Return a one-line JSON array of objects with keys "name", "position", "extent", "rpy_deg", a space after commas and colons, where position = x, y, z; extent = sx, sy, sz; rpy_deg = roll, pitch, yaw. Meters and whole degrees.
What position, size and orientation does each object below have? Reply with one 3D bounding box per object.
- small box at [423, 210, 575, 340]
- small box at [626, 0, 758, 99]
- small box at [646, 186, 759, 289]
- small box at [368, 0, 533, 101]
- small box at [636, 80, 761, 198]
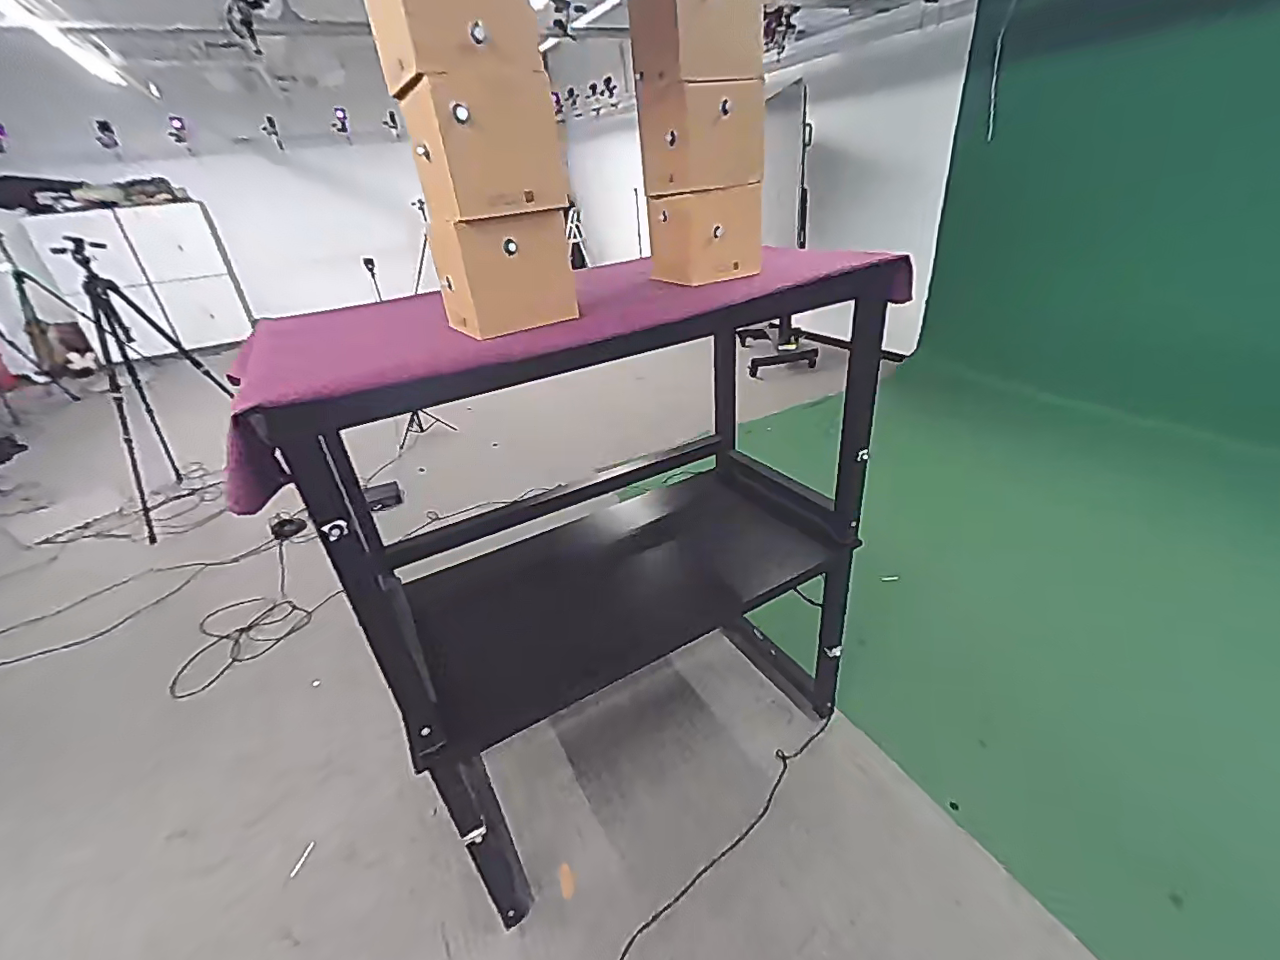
[{"name": "small box", "position": [-0.225, -0.335, 0.880], "extent": [0.179, 0.176, 0.168], "rpy_deg": [-22, 32, -27]}, {"name": "small box", "position": [0.095, -0.781, 0.953], "extent": [0.179, 0.176, 0.168], "rpy_deg": [-19, 31, -22]}, {"name": "small box", "position": [0.129, -0.493, 1.105], "extent": [0.168, 0.176, 0.179], "rpy_deg": [-18, 30, -20]}, {"name": "small box", "position": [-0.256, -0.623, 0.728], "extent": [0.179, 0.176, 0.168], "rpy_deg": [-22, 31, -27]}, {"name": "small box", "position": [0.114, -0.633, 1.020], "extent": [0.179, 0.176, 0.168], "rpy_deg": [-20, 31, -23]}]
